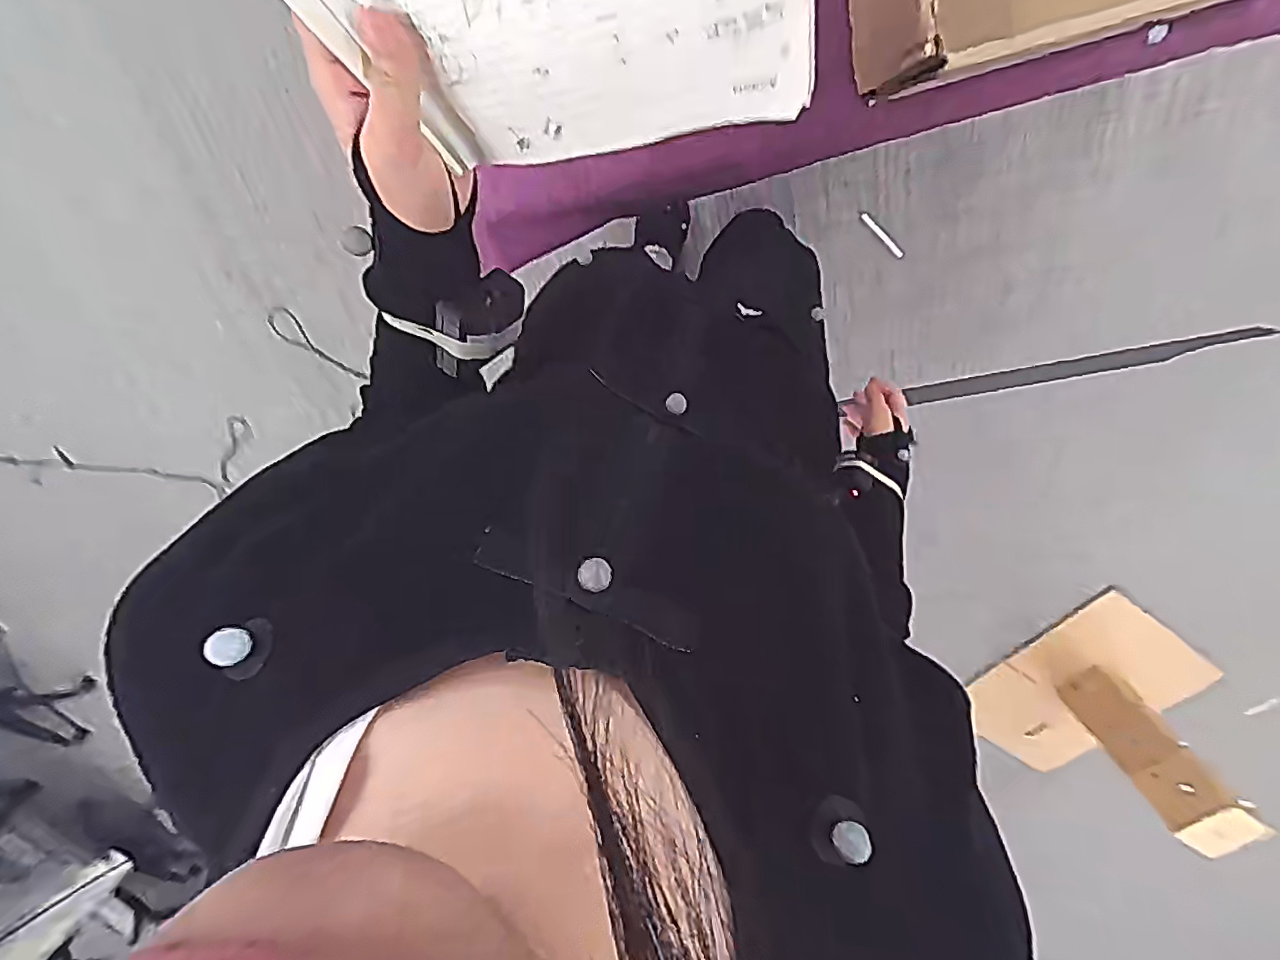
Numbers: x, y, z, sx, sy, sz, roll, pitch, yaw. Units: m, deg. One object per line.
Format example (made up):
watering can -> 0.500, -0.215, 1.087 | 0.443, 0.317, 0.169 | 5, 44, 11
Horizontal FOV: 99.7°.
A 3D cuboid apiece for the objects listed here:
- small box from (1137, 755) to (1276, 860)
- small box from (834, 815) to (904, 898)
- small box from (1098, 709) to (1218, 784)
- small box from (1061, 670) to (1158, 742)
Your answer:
small box -> 1.549, 0.896, 1.493 | 0.179, 0.176, 0.168 | 32, 115, -13
small box -> 0.732, 1.214, 1.747 | 0.168, 0.176, 0.179 | -6, 118, 7
small box -> 1.562, 0.829, 1.640 | 0.179, 0.176, 0.168 | 30, 117, -12
small box -> 1.568, 0.763, 1.792 | 0.179, 0.176, 0.168 | 30, 115, -10
